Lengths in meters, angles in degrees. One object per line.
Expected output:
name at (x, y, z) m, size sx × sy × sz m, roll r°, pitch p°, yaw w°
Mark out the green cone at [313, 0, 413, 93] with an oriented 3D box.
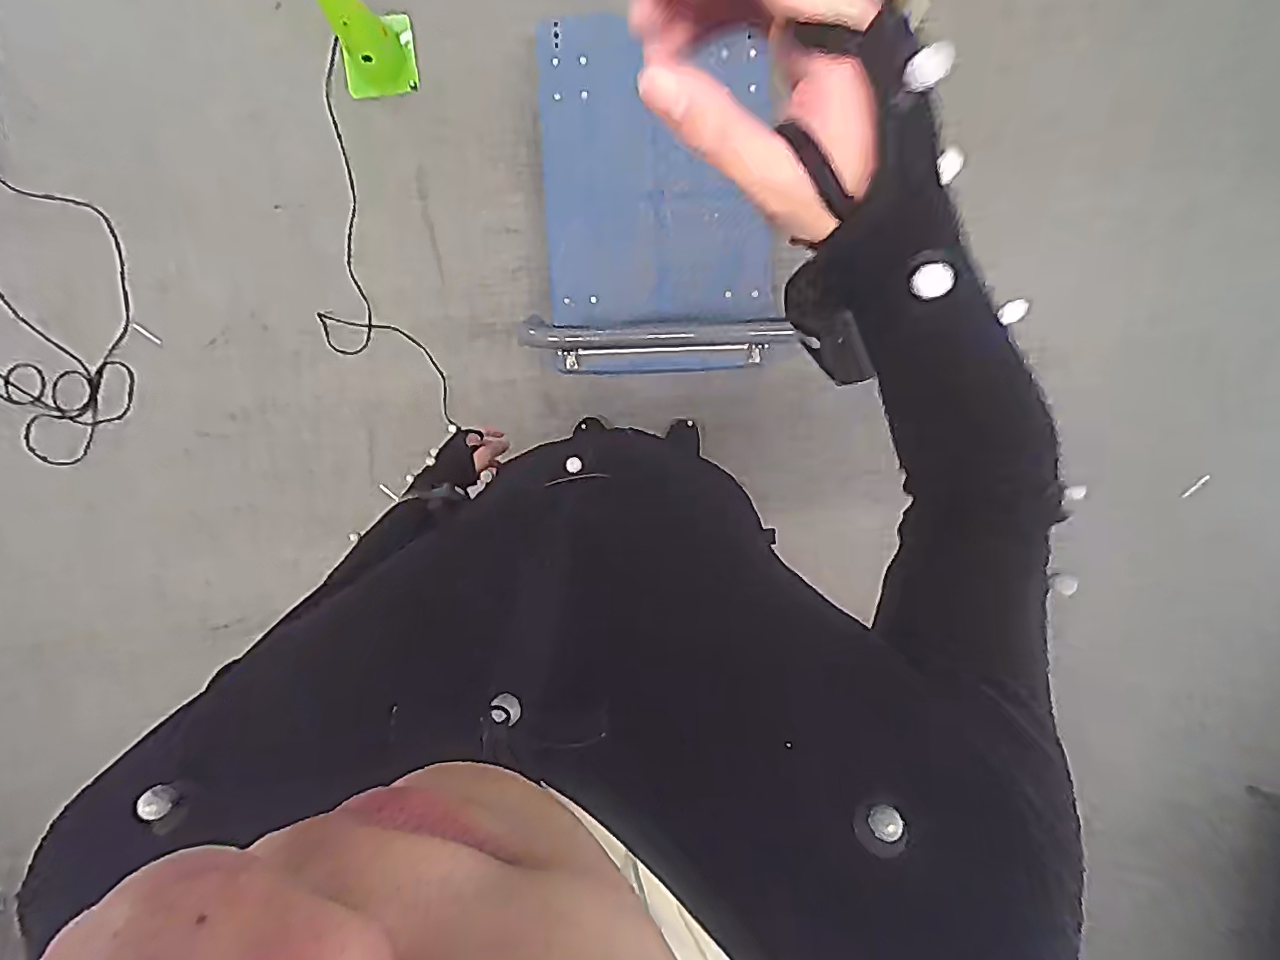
green cone at (-0.740, -1.165, 1.318) m, size 0.202 × 0.368 × 0.200 m, roll -7°, pitch 97°, yaw 3°
